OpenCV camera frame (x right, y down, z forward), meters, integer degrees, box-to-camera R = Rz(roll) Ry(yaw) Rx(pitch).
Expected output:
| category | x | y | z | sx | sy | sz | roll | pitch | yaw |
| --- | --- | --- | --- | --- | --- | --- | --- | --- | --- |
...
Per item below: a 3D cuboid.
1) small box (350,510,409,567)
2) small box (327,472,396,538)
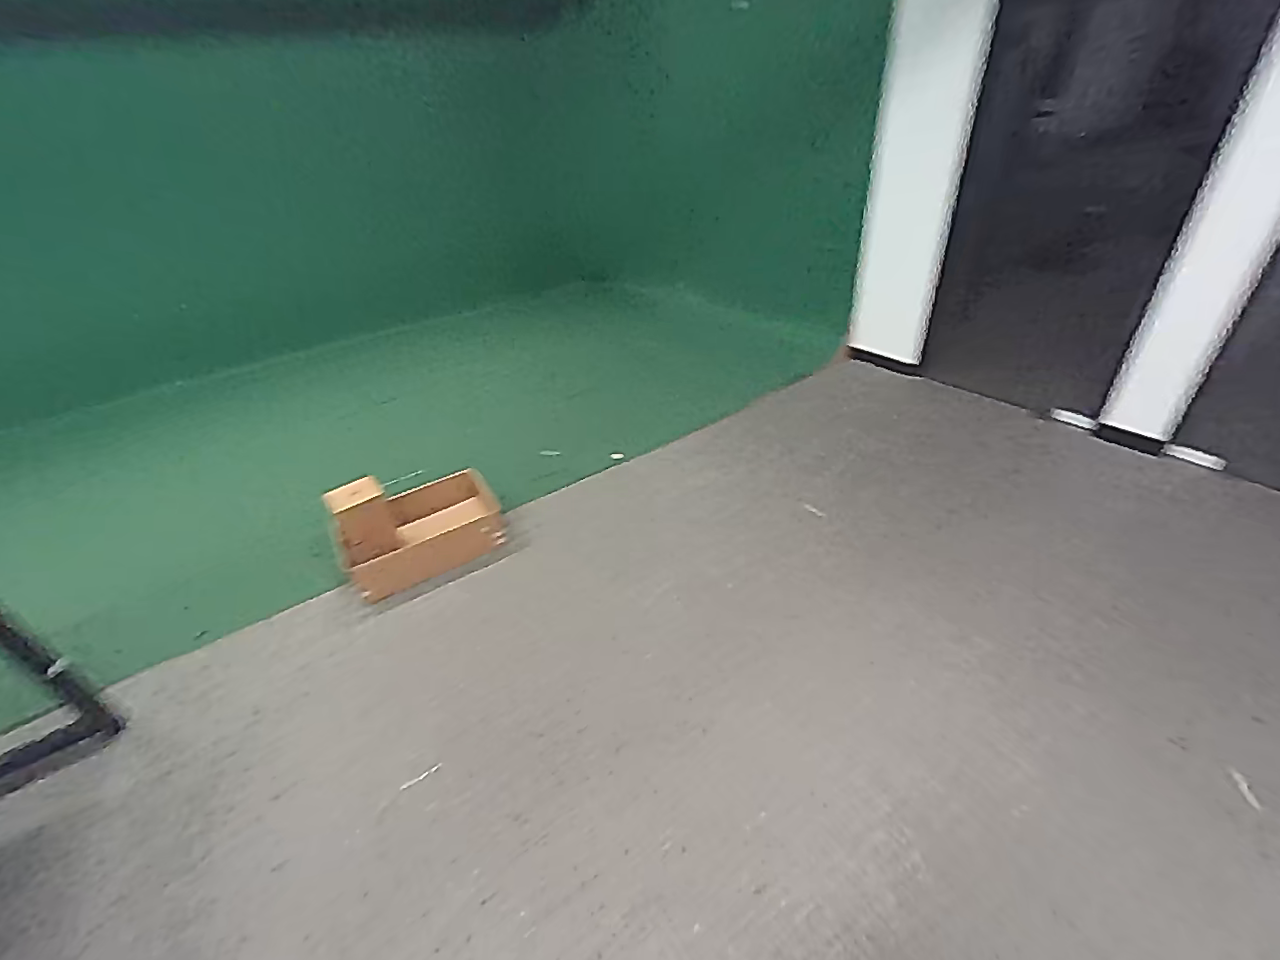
| category | x | y | z | sx | sy | sz | roll | pitch | yaw |
| --- | --- | --- | --- | --- | --- | --- | --- | --- | --- |
| small box | -1.078 | 0.231 | 2.228 | 0.179 | 0.176 | 0.168 | -22 | 40 | -22 |
| small box | -1.092 | 0.099 | 2.130 | 0.179 | 0.176 | 0.168 | -27 | 43 | -31 |
